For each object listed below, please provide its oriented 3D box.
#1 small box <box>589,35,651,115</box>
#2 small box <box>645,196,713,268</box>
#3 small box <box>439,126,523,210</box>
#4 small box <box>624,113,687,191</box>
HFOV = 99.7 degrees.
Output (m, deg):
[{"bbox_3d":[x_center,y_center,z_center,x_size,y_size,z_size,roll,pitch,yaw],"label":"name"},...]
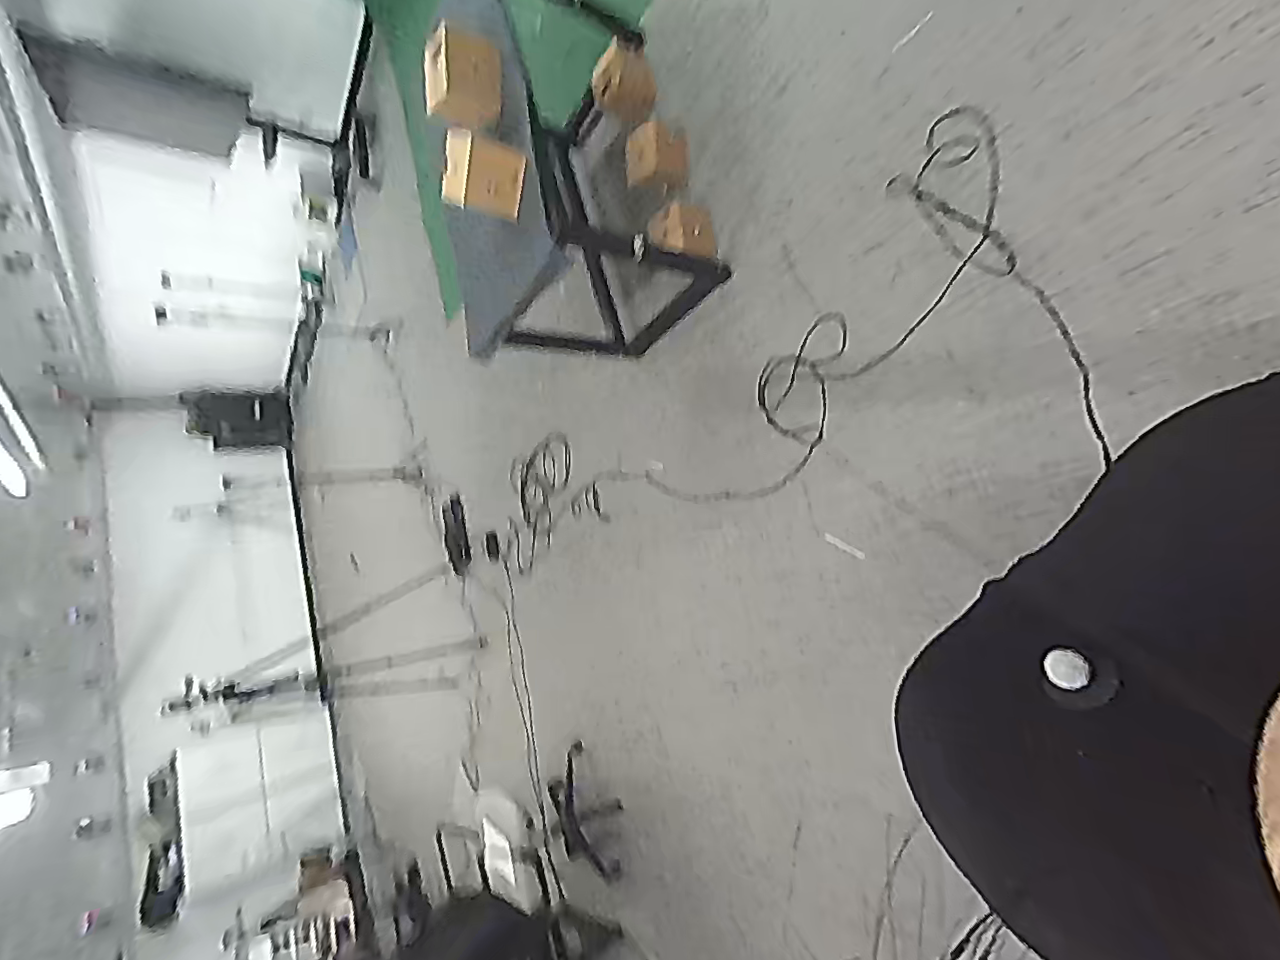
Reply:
[{"bbox_3d":[-0.075,-1.583,2.133,0.168,0.176,0.179,-22,77,48],"label":"small box"},{"bbox_3d":[0.145,-0.886,1.956,0.168,0.176,0.179,-12,86,49],"label":"small box"},{"bbox_3d":[-0.450,-0.879,1.530,0.179,0.176,0.168,38,121,40],"label":"small box"},{"bbox_3d":[0.059,-1.216,2.020,0.168,0.176,0.179,1,96,50],"label":"small box"}]
